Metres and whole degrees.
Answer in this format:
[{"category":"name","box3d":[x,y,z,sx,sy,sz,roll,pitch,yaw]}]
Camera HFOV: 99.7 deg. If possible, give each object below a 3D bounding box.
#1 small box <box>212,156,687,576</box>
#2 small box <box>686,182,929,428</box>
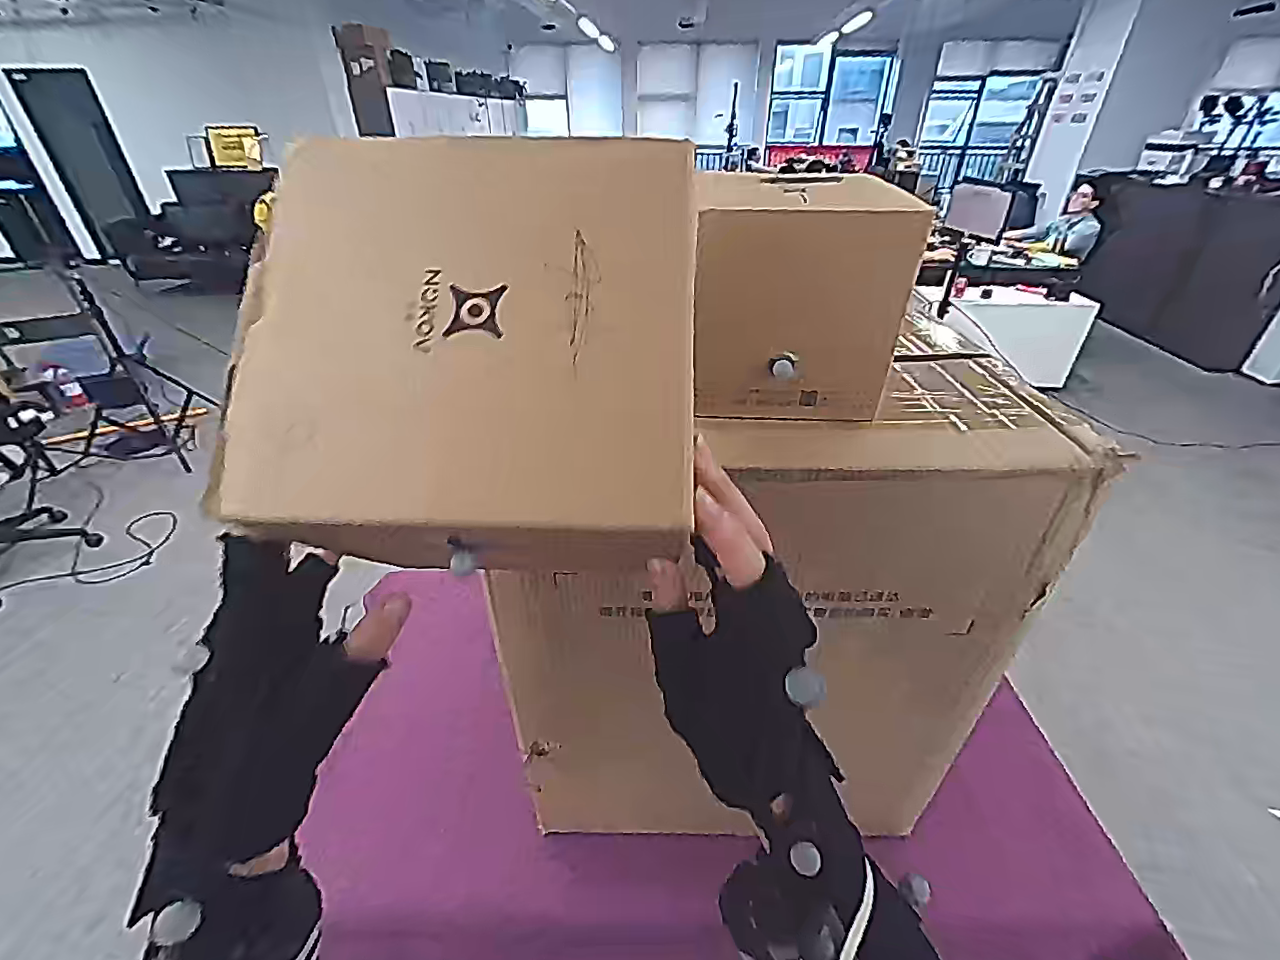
[{"category":"small box","box3d":[-0.066,-0.040,0.293,0.179,0.176,0.168,1,73,1]},{"category":"small box","box3d":[0.125,-0.163,0.490,0.168,0.176,0.179,2,36,4]}]
